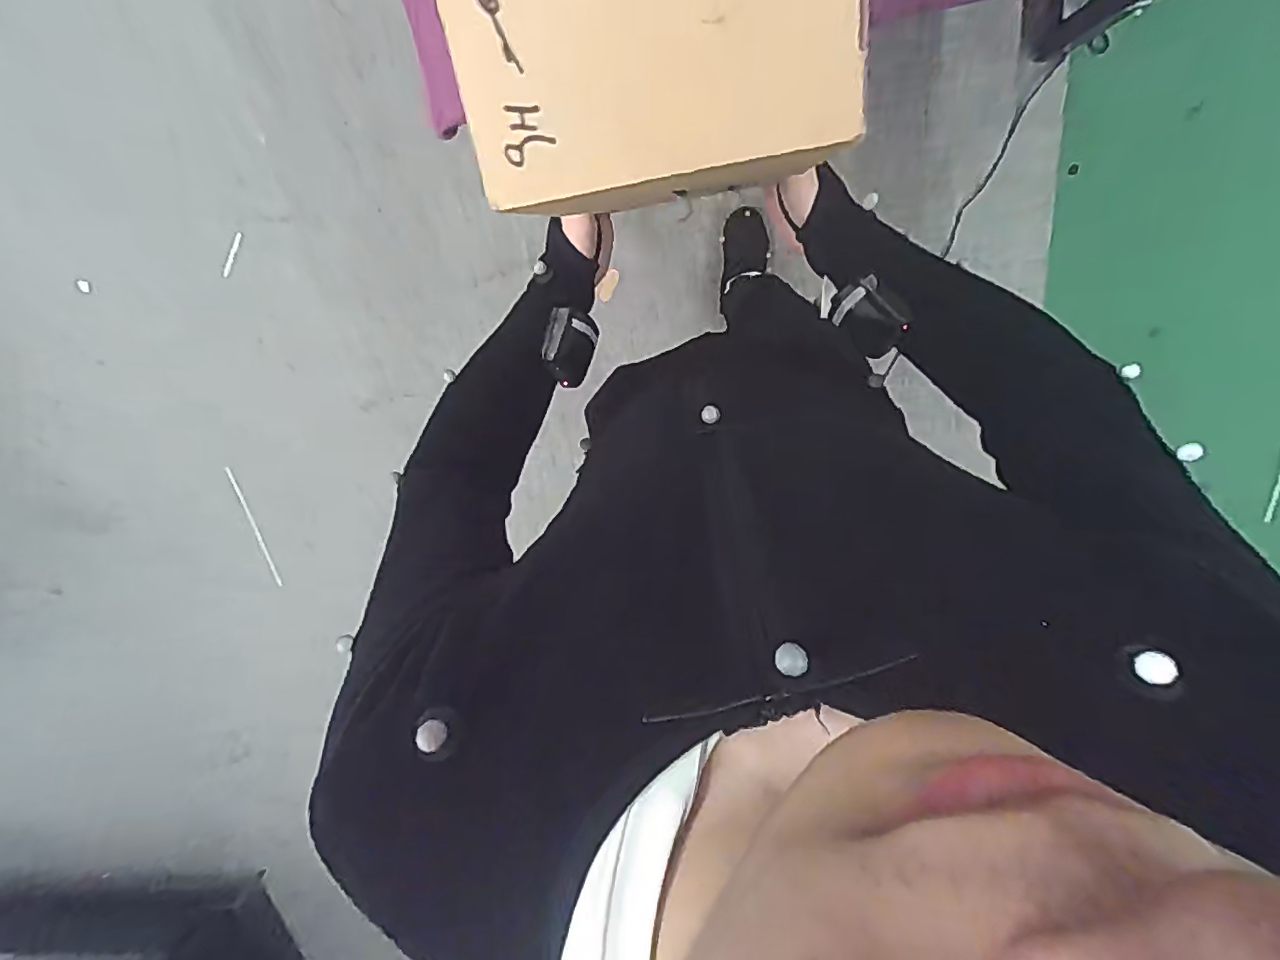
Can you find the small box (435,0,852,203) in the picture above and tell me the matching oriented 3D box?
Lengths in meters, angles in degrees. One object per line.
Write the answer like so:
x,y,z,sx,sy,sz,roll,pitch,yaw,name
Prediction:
0.004,-0.254,0.291,0.179,0.176,0.168,-6,115,10,small box
